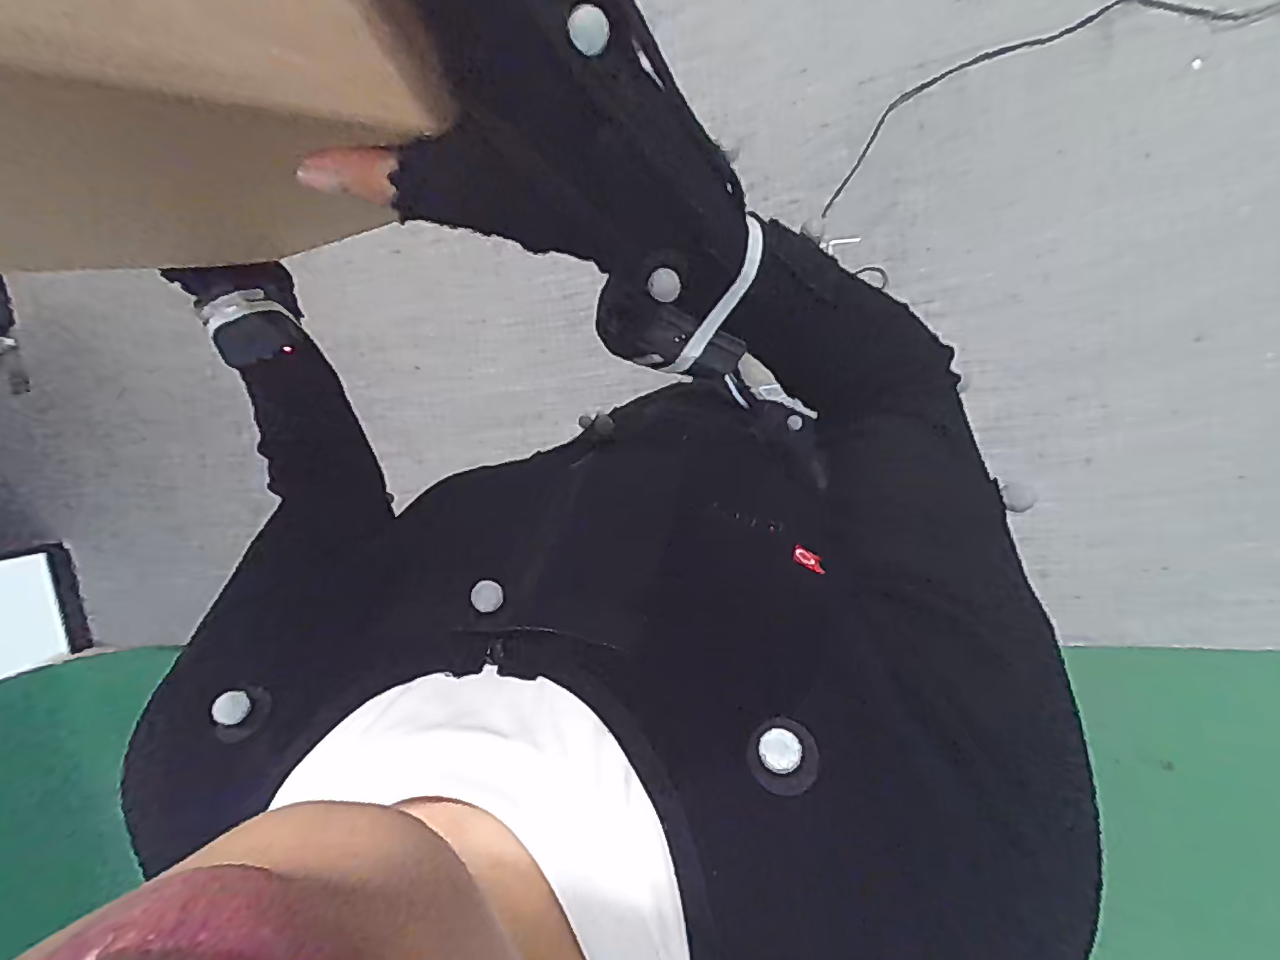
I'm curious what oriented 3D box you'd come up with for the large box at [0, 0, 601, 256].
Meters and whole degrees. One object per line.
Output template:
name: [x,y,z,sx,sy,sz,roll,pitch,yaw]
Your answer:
large box: [-0.275,-0.275,0.204,0.408,0.320,0.320,9,115,38]
